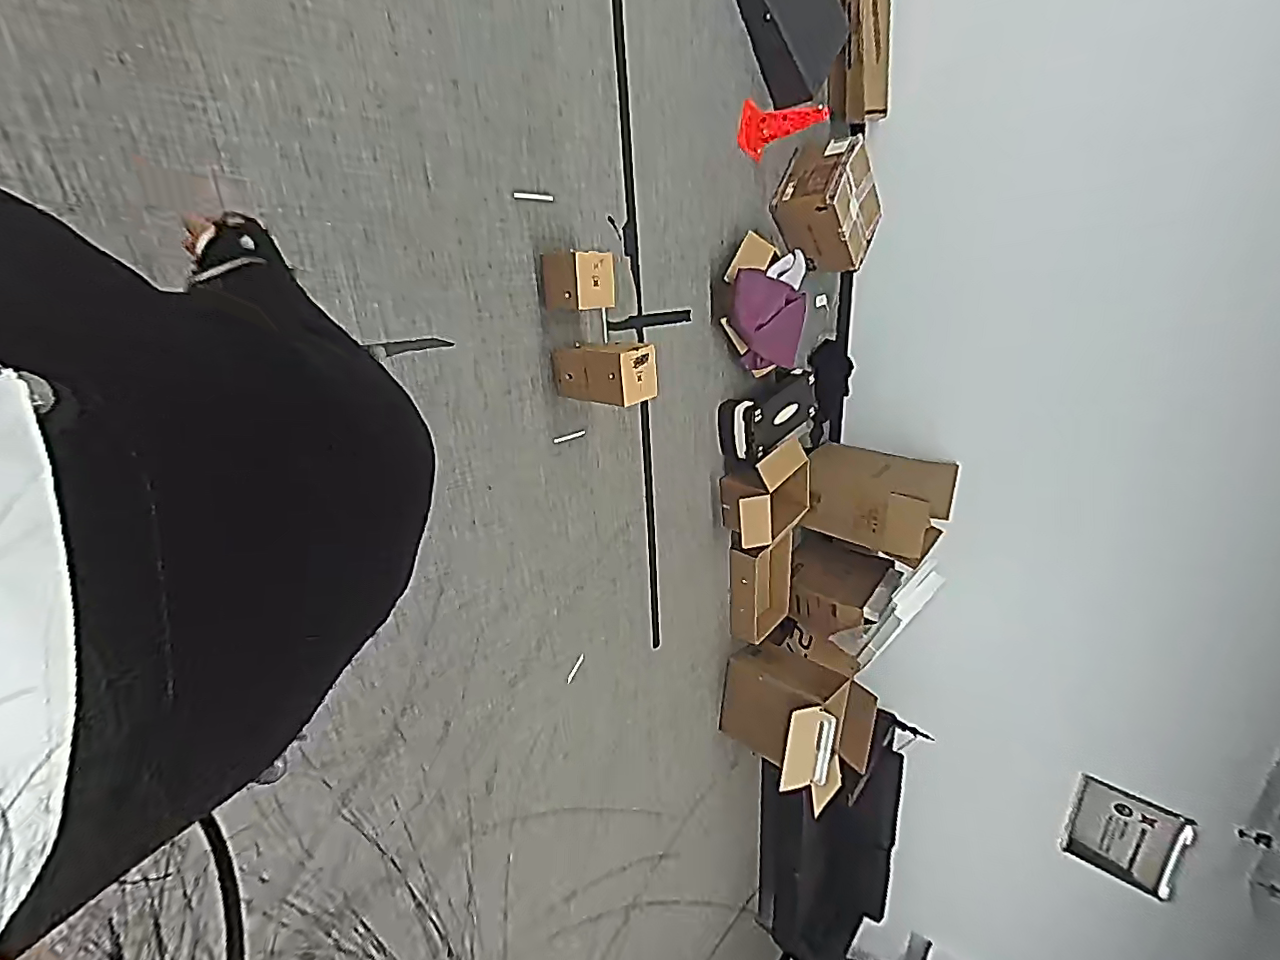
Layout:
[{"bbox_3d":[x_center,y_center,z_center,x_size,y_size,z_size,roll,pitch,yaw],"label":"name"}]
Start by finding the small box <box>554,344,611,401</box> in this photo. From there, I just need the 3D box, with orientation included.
[{"bbox_3d":[-0.191,-0.386,1.916,0.179,0.176,0.168,-27,121,-41],"label":"small box"}]

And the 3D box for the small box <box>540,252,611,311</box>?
[{"bbox_3d":[-0.215,-0.660,1.799,0.168,0.176,0.179,-22,118,-43],"label":"small box"}]

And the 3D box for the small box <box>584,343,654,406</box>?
[{"bbox_3d":[-0.071,-0.358,1.805,0.168,0.176,0.179,-27,122,-41],"label":"small box"}]
